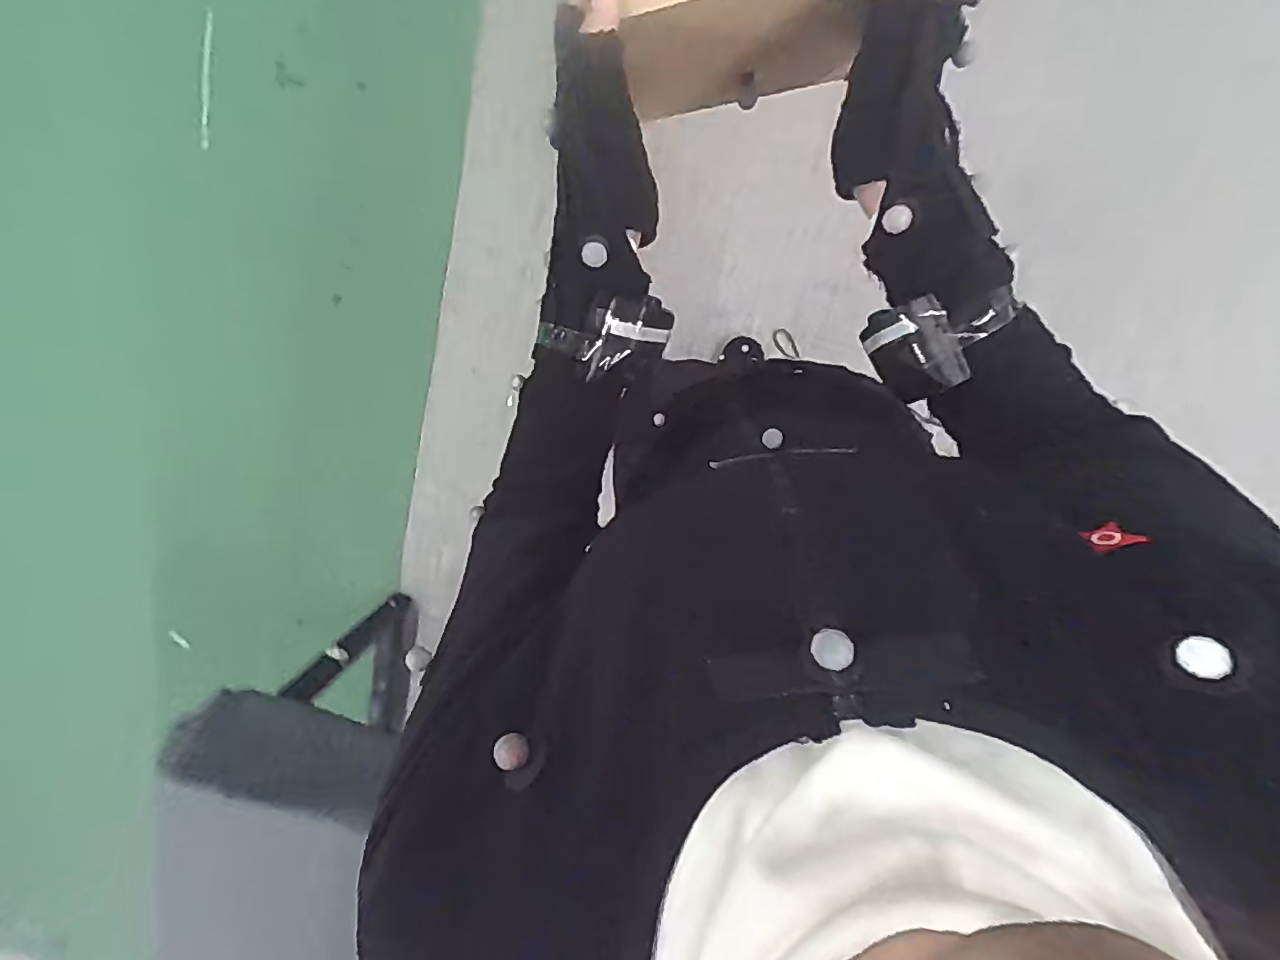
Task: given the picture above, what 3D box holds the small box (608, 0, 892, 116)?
[{"bbox_3d":[0.064,-0.365,0.343,0.179,0.176,0.168,-7,104,7],"label":"small box"}]
